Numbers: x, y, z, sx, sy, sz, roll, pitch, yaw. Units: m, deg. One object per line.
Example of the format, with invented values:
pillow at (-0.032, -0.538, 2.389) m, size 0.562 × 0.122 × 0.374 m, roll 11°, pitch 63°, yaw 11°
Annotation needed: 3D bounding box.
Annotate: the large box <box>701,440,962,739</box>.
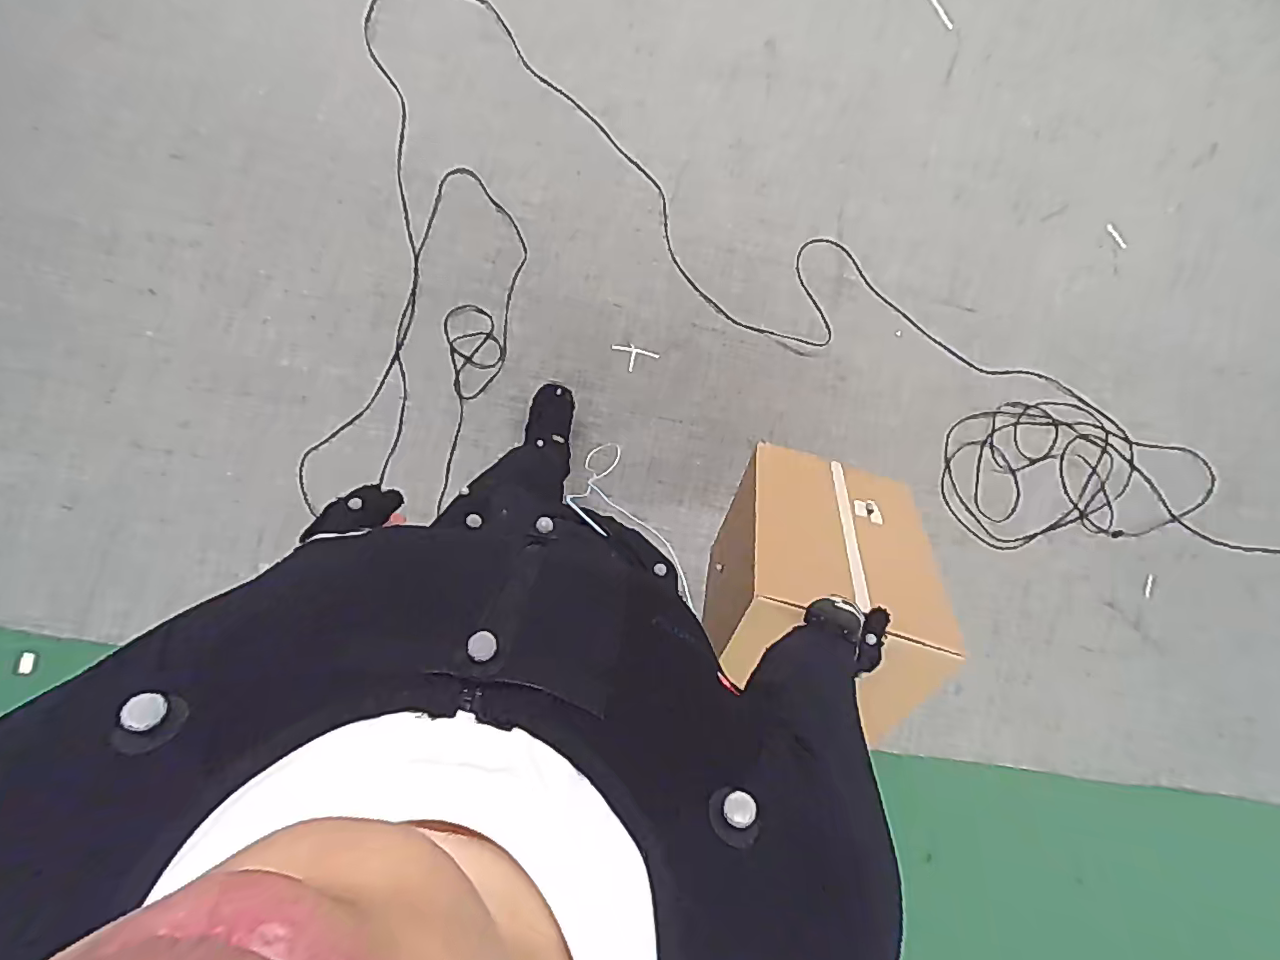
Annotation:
large box at (0.313, 0.192, 1.008) m, size 0.320 × 0.408 × 0.320 m, roll 17°, pitch 129°, yaw 0°
